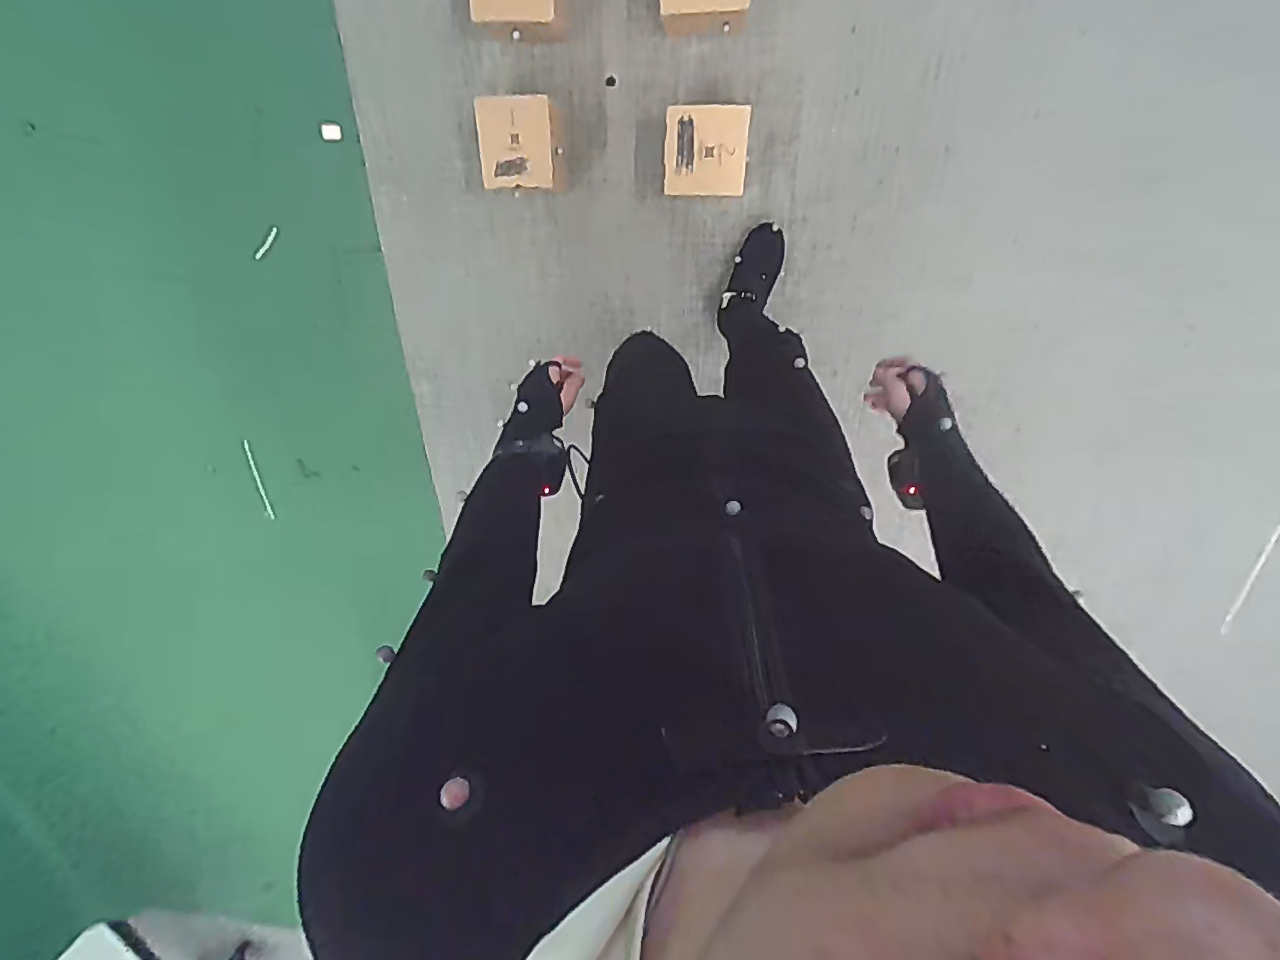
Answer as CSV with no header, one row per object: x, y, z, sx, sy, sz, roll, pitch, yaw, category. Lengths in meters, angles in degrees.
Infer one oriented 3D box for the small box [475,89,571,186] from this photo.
-0.258,-0.776,1.240,0.168,0.176,0.179,4,116,6,small box

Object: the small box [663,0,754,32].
0.139,-1.011,1.065,0.179,0.176,0.168,3,116,7,small box

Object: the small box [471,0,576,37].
-0.236,-1.032,1.107,0.179,0.176,0.168,6,117,6,small box
